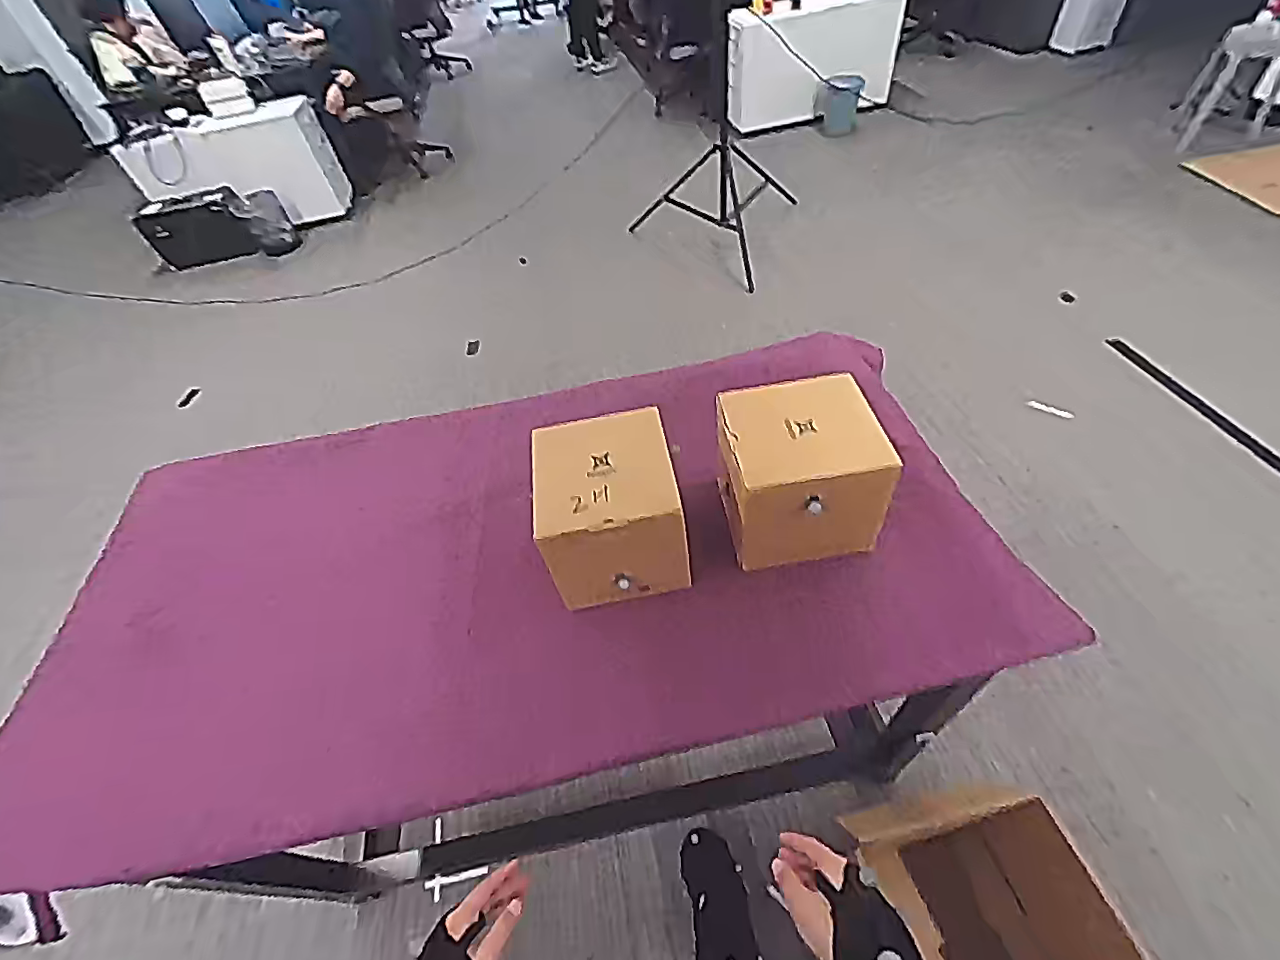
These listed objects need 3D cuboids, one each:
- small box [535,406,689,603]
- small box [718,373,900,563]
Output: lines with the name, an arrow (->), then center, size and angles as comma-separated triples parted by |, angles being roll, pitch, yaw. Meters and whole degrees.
small box -> -0.035, 0.033, 0.700 | 0.168, 0.176, 0.179 | -11, 49, 0
small box -> 0.202, -0.012, 0.704 | 0.179, 0.176, 0.168 | -9, 48, 2
